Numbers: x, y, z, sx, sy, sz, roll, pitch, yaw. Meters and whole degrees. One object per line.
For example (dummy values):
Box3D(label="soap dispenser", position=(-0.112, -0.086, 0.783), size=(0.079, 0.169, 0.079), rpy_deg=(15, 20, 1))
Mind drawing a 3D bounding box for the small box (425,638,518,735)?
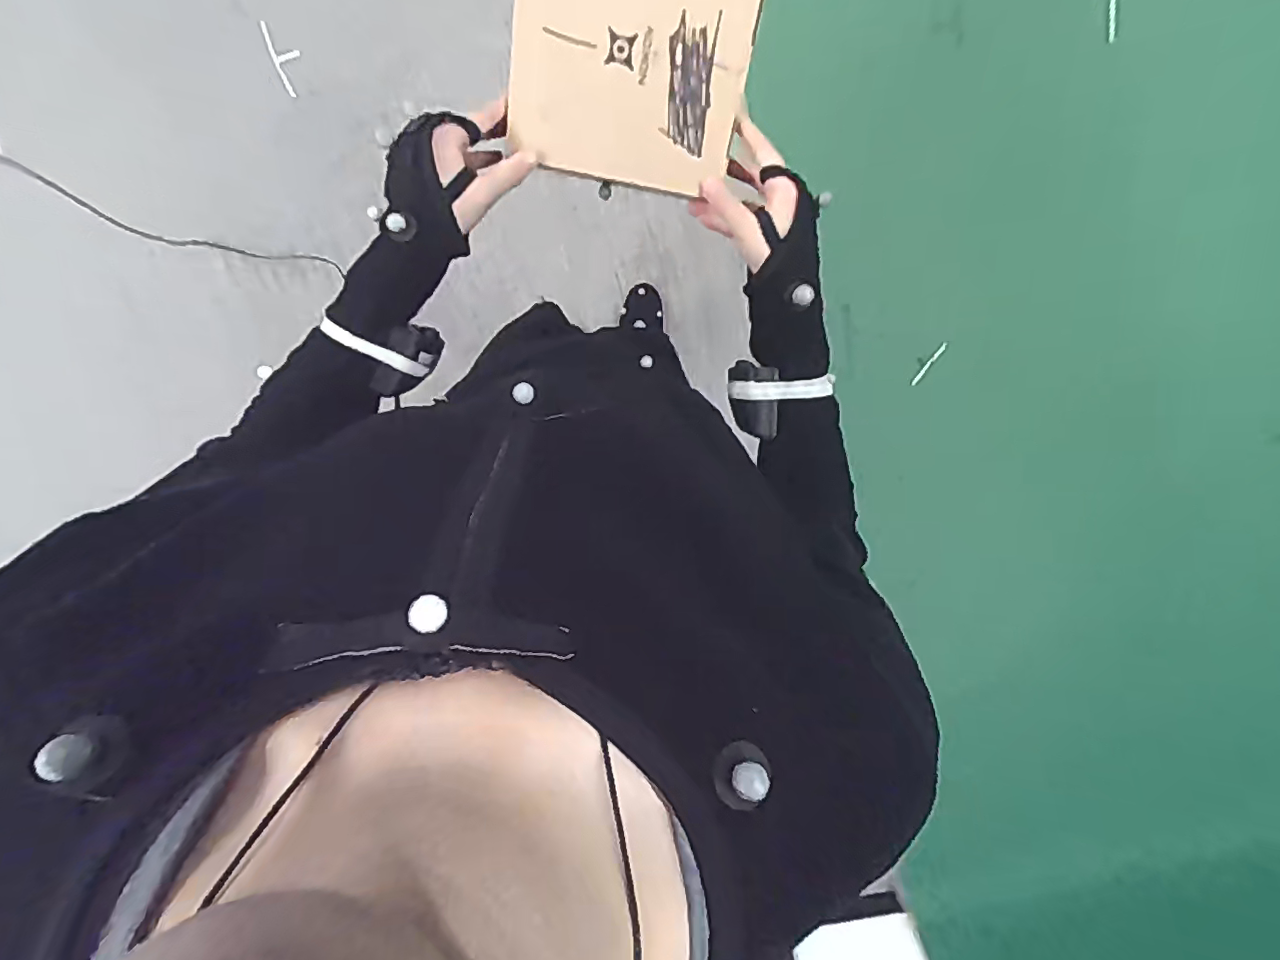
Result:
Box3D(label="small box", position=(-0.441, 0.541, 1.443), size=(0.168, 0.176, 0.179), rpy_deg=(-11, 110, 5))
